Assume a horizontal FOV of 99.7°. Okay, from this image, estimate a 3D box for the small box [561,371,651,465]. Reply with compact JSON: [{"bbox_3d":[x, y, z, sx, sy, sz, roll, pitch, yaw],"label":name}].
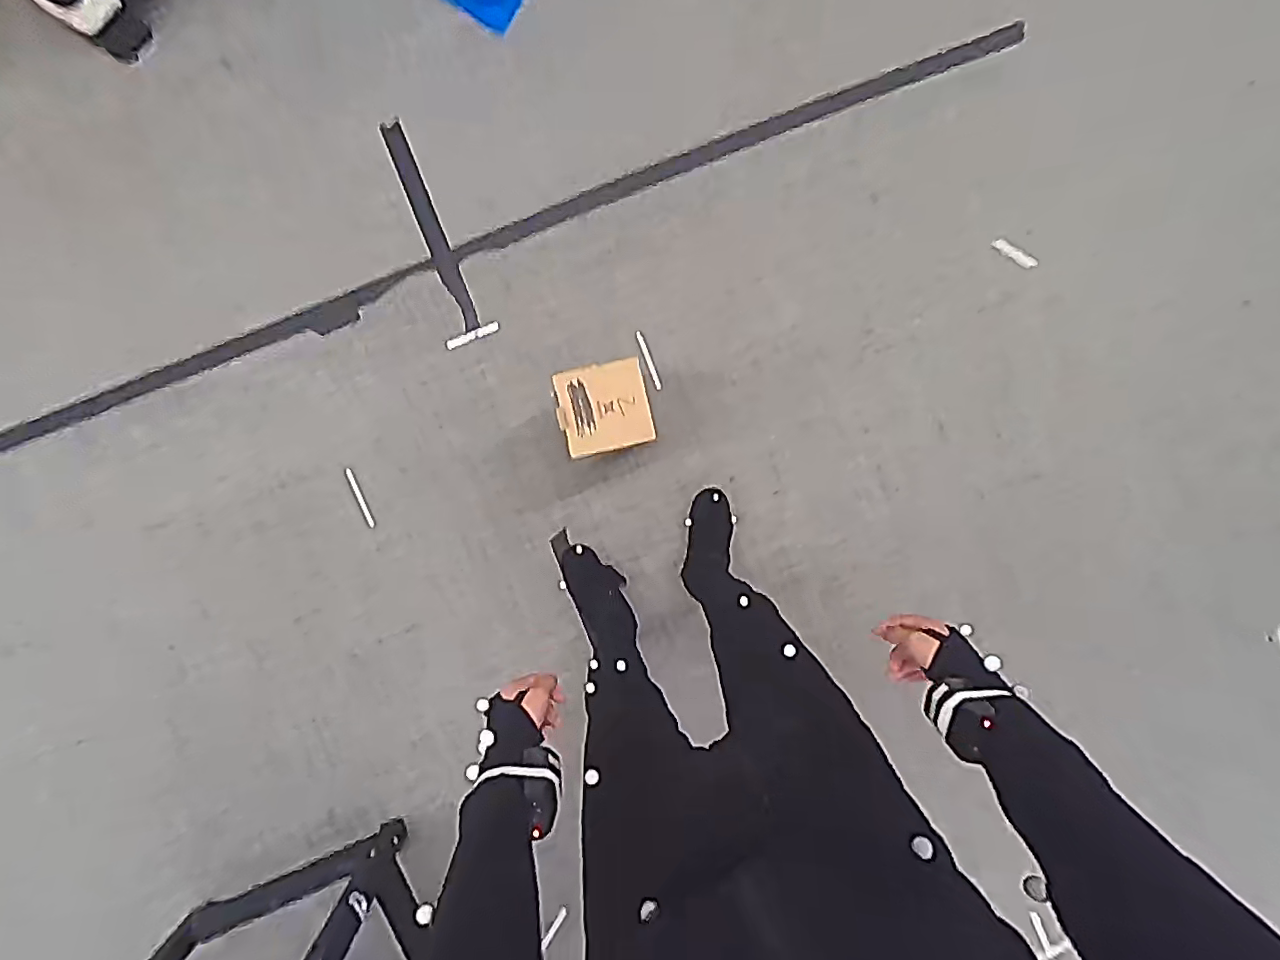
[{"bbox_3d":[-0.080,-0.146,1.299,0.168,0.176,0.179,-18,94,-3],"label":"small box"}]
